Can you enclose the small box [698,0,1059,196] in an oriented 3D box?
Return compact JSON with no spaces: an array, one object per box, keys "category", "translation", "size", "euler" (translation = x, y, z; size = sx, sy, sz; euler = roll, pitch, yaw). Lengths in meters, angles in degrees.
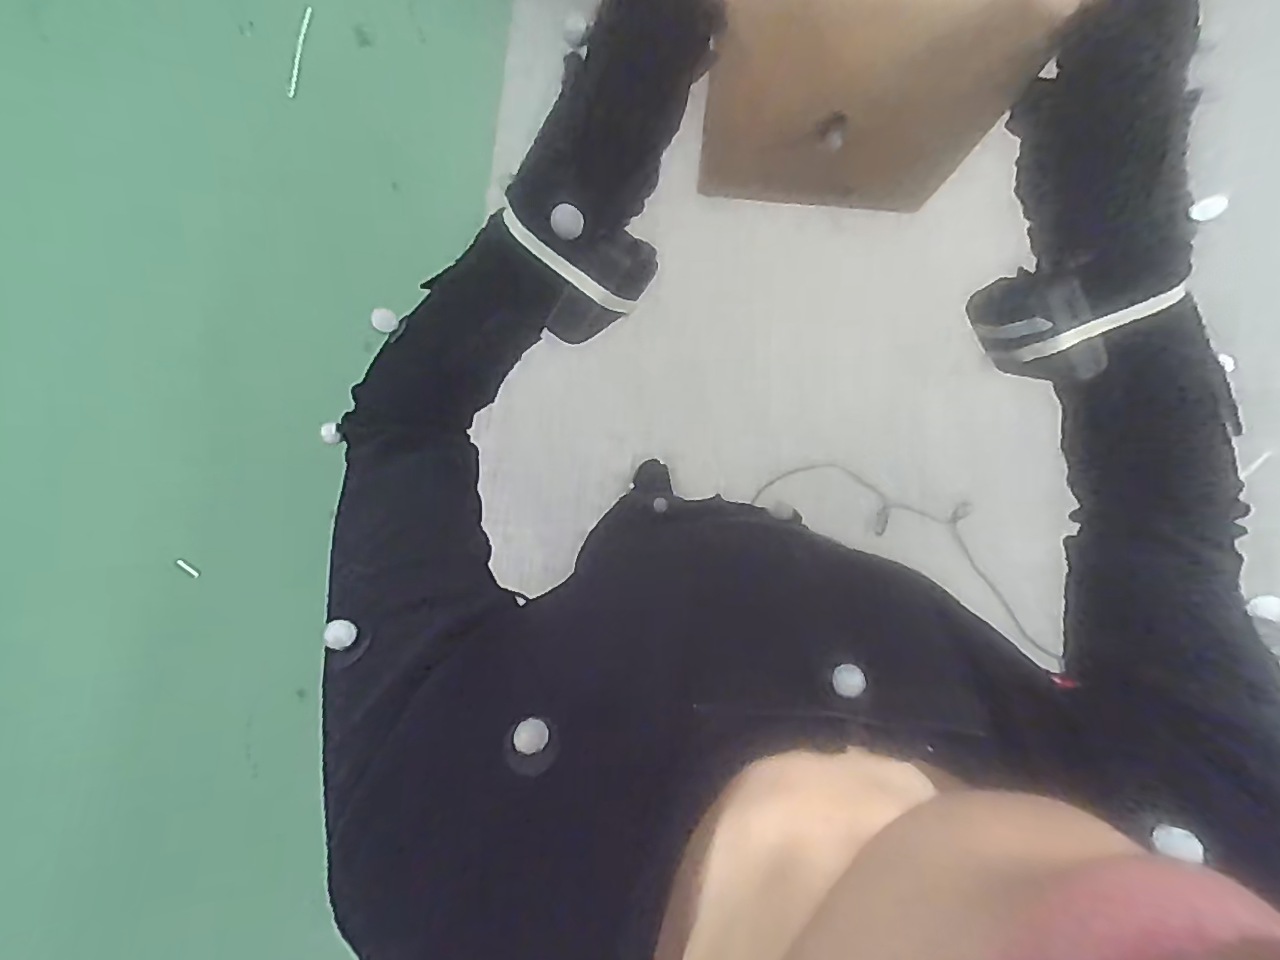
[{"category":"small box","translation":[0.129,-0.304,0.328],"size":[0.168,0.176,0.179],"euler":[6,84,1]}]
